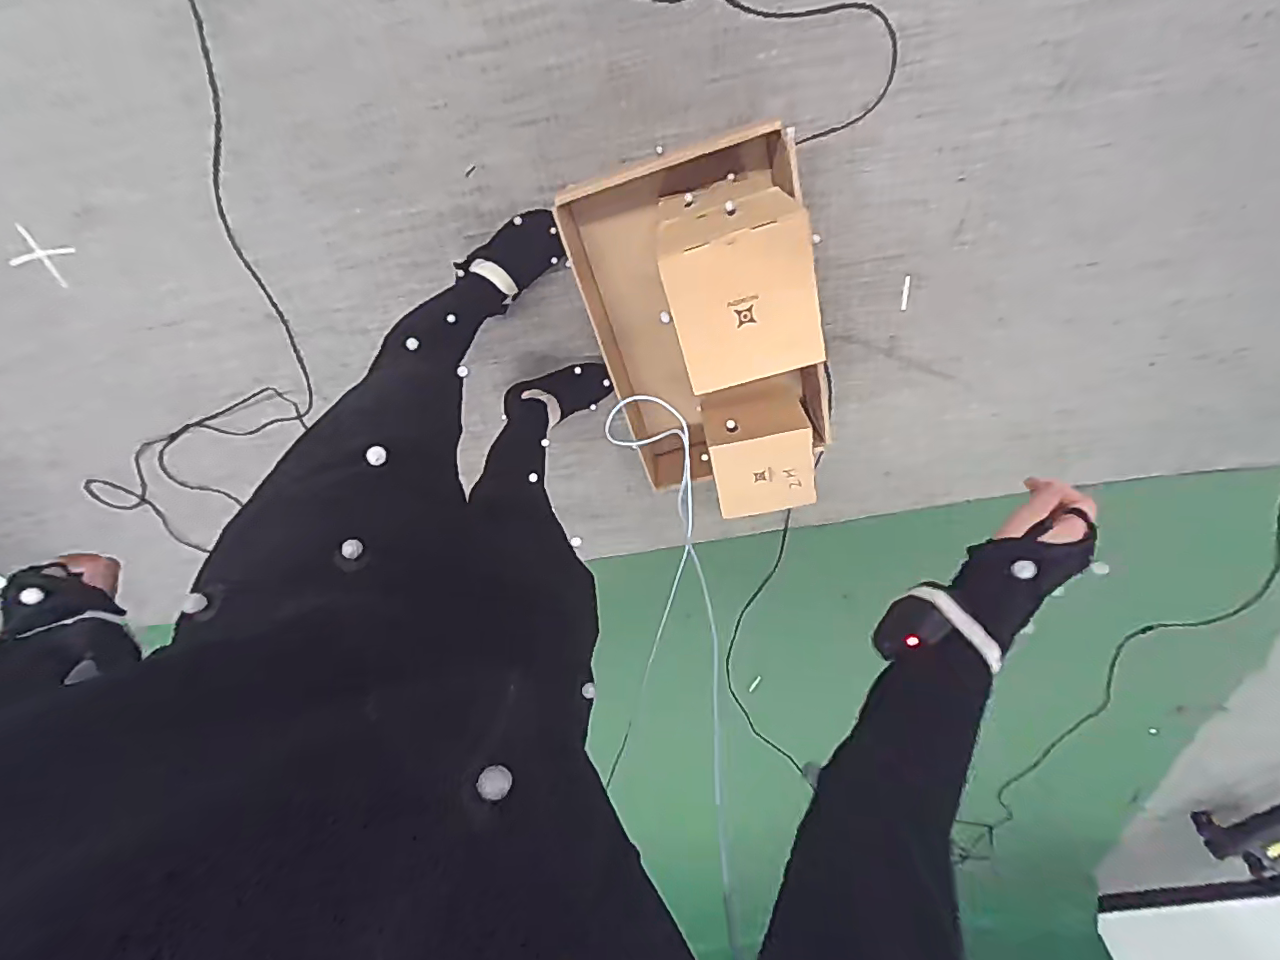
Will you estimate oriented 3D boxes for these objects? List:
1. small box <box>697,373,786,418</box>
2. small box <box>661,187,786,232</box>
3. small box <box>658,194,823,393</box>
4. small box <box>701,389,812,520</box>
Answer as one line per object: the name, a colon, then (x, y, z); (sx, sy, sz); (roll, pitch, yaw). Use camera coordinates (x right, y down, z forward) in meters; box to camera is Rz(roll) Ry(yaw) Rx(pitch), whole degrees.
small box: (0.211, -0.157, 1.141); (0.168, 0.176, 0.179); (-10, 123, 7)
small box: (0.127, -0.332, 0.823); (0.168, 0.176, 0.179); (-9, 125, 8)
small box: (0.125, -0.240, 0.690); (0.168, 0.176, 0.179); (-13, 123, 11)
small box: (0.213, -0.051, 1.013); (0.179, 0.176, 0.168); (-11, 125, 6)
